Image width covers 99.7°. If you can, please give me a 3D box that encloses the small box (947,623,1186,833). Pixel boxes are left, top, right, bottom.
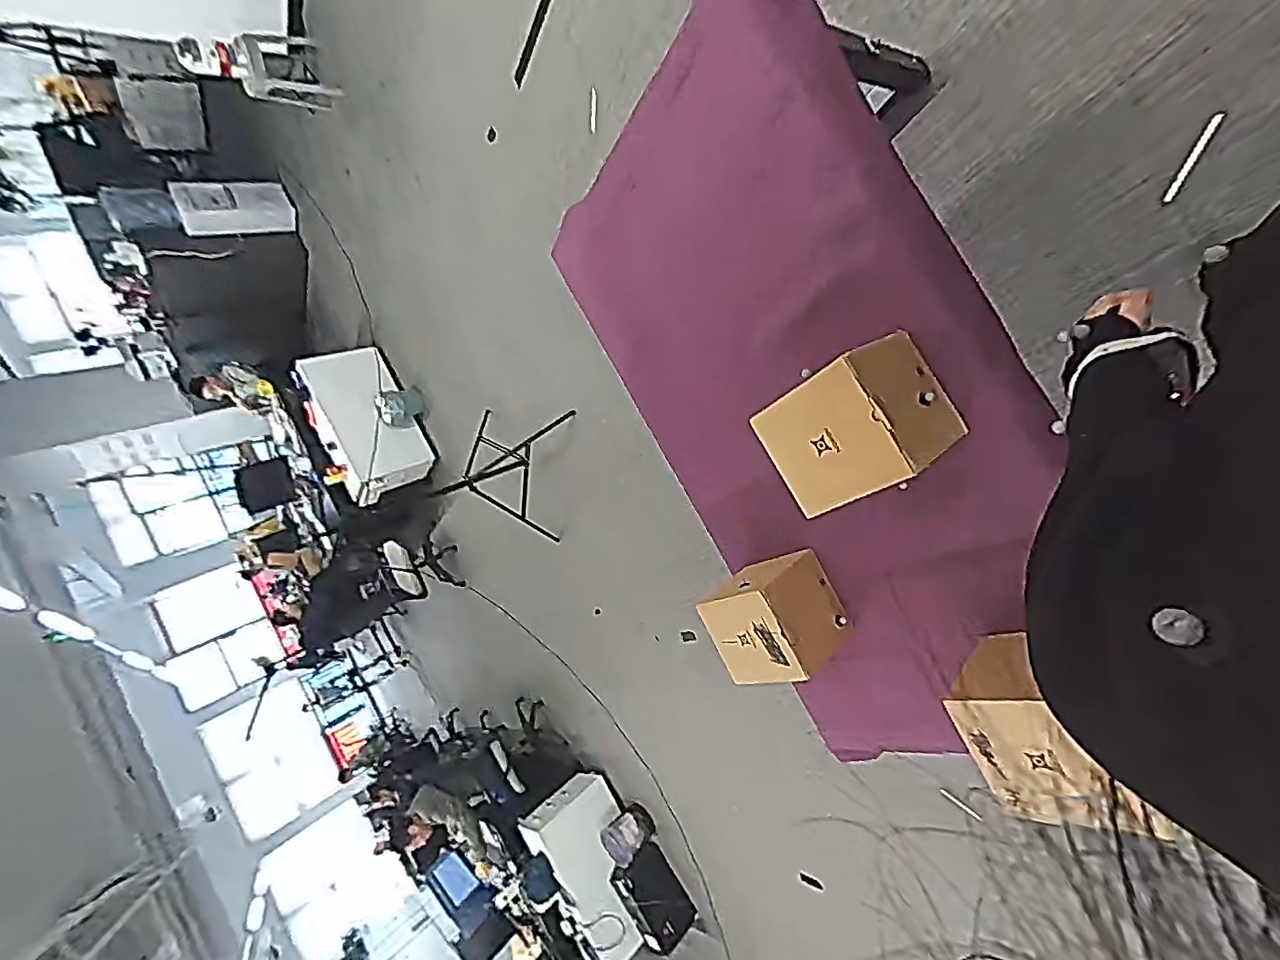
[{"bbox_3d":[0.536,0.296,0.679,0.179,0.176,0.168,-33,83,52],"label":"small box"}]

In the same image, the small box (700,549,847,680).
[{"bbox_3d":[0.249,0.244,0.987,0.179,0.176,0.168,-31,85,52],"label":"small box"}]

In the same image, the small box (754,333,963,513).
[{"bbox_3d":[0.301,-0.079,0.752,0.168,0.176,0.179,60,143,6],"label":"small box"}]
